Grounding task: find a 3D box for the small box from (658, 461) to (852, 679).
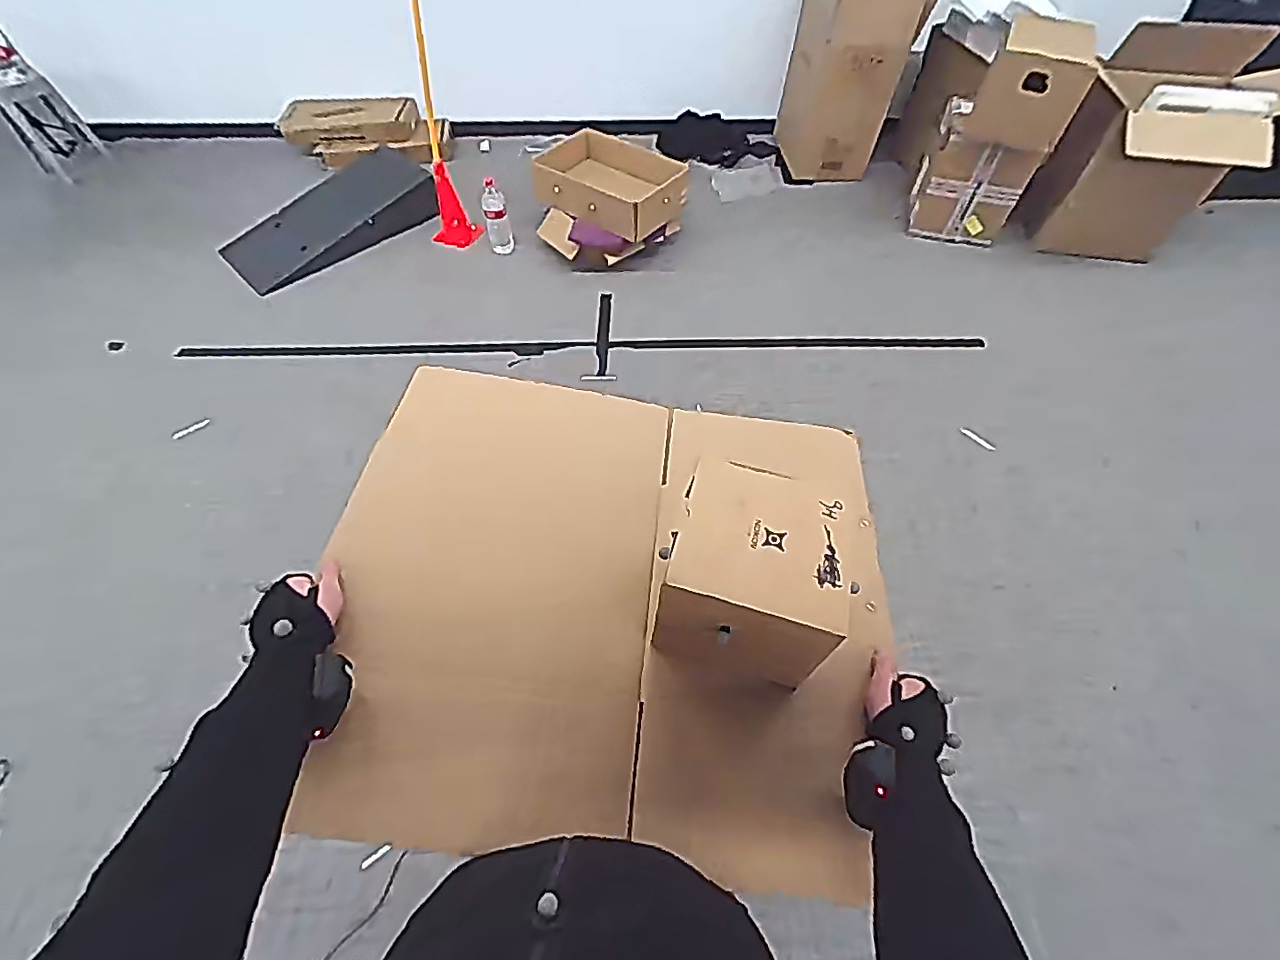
[{"bbox_3d":[0.124,0.108,0.618,0.179,0.176,0.168,14,54,8],"label":"small box"}]
